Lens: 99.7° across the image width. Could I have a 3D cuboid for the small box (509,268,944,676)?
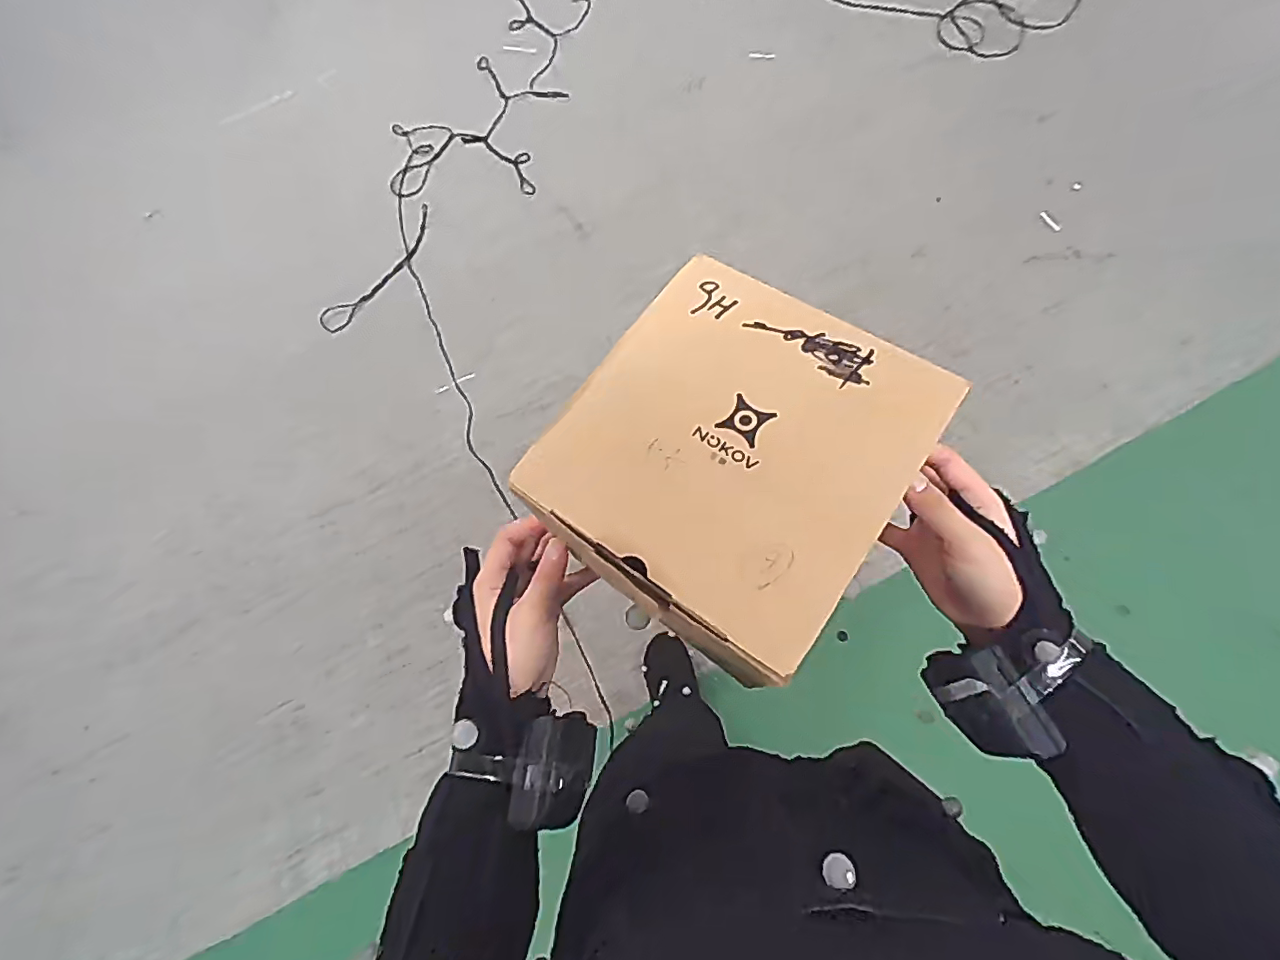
[{"bbox_3d":[0.053,0.009,0.355,0.168,0.176,0.179,33,76,18],"label":"small box"}]
